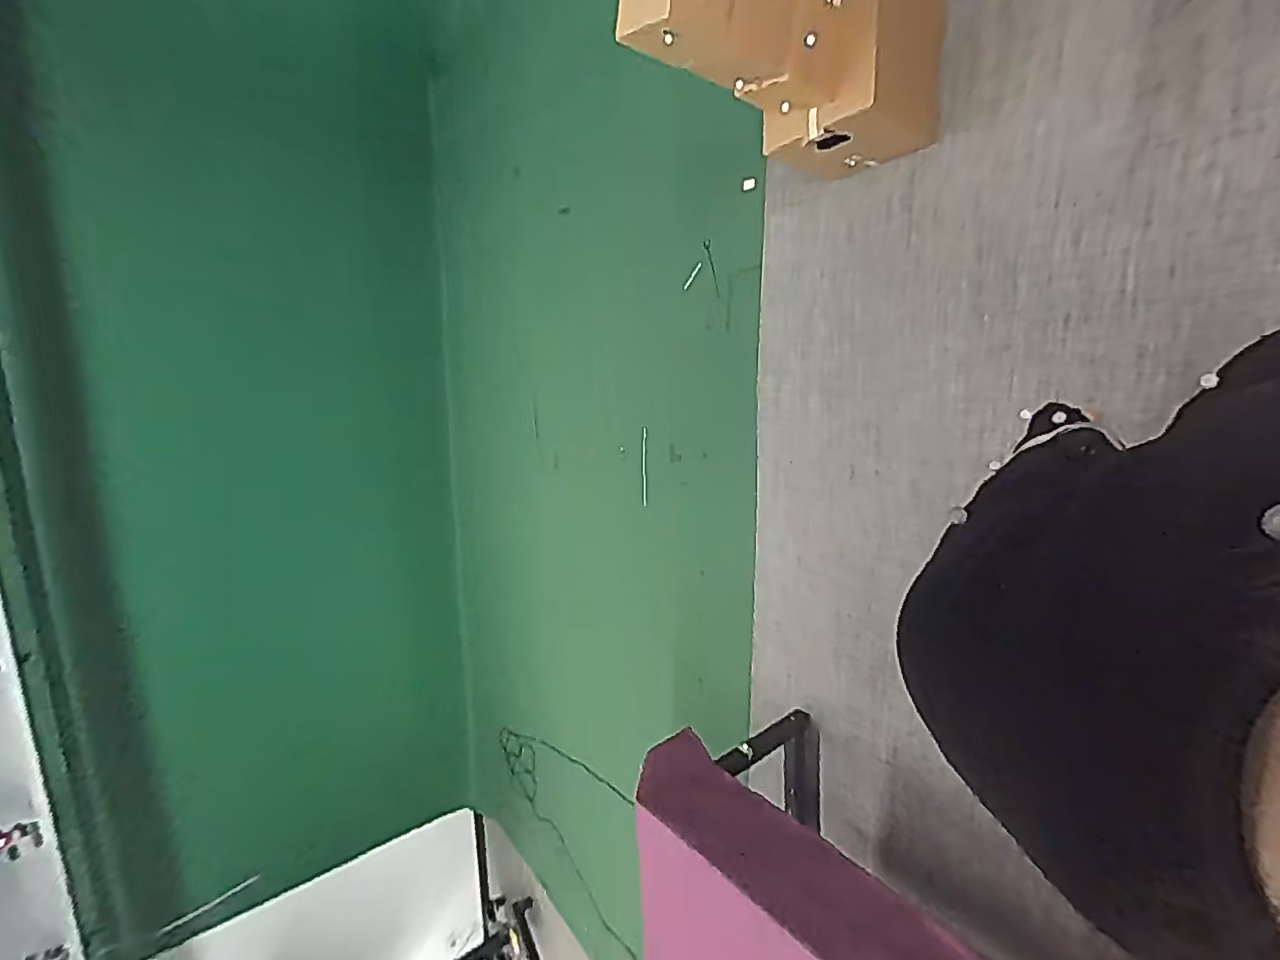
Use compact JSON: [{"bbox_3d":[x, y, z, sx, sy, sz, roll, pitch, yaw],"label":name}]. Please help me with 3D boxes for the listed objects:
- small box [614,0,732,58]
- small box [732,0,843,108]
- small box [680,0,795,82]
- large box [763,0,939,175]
[{"bbox_3d":[0.072,-0.957,1.051,0.179,0.176,0.168,31,121,46],"label":"small box"},{"bbox_3d":[0.339,-0.990,1.239,0.168,0.176,0.179,26,117,47],"label":"small box"},{"bbox_3d":[0.208,-0.980,1.142,0.168,0.176,0.179,31,121,46],"label":"small box"},{"bbox_3d":[0.531,-1.070,1.373,0.320,0.320,0.408,10,104,51],"label":"large box"}]
